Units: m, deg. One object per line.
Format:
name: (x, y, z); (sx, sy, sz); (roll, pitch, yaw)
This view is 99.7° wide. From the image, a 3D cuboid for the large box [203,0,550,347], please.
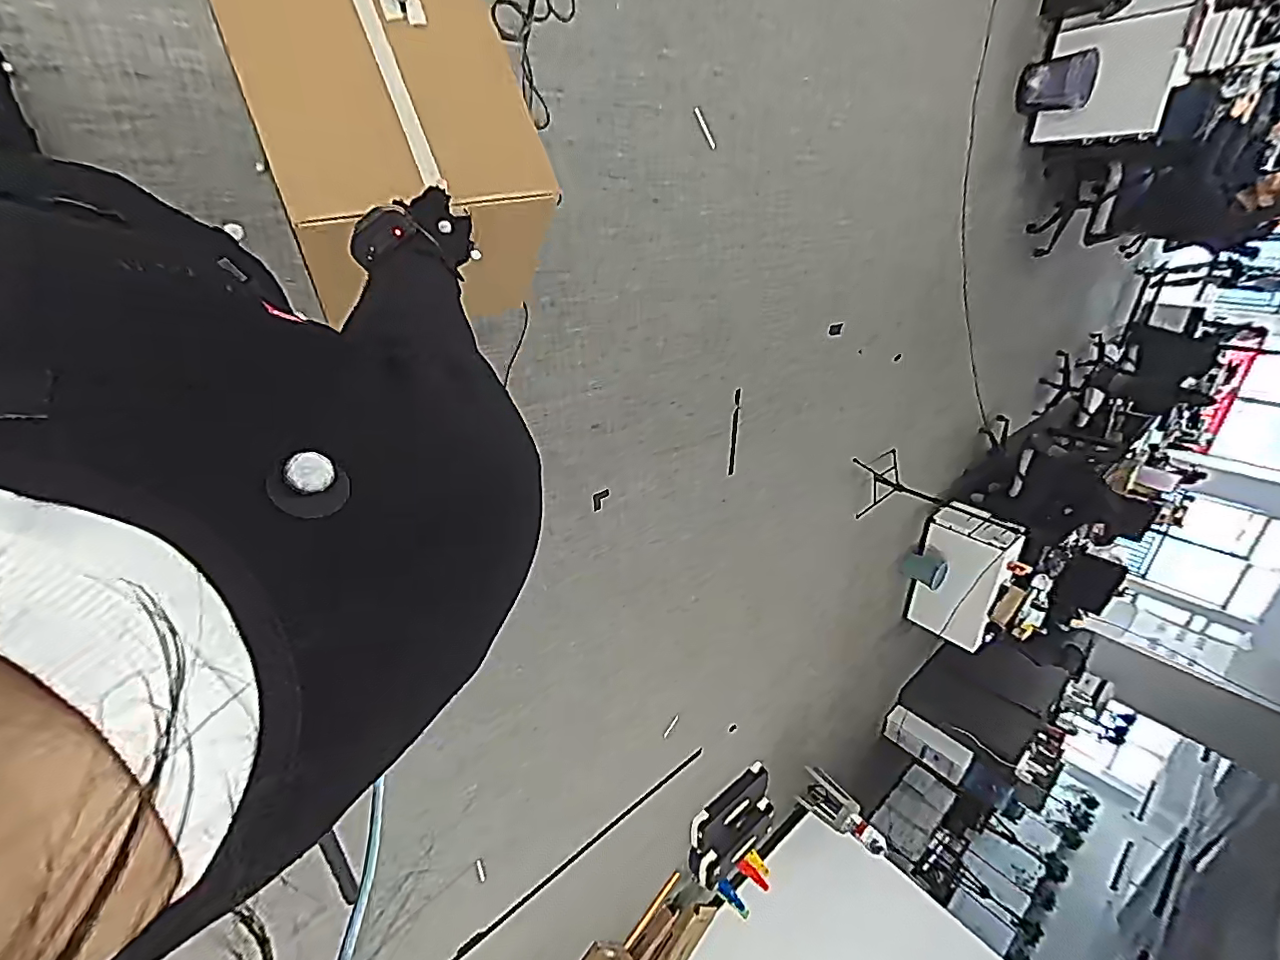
large box: (-0.377, -0.472, 0.803); (0.320, 0.320, 0.408); (-21, 85, -26)
